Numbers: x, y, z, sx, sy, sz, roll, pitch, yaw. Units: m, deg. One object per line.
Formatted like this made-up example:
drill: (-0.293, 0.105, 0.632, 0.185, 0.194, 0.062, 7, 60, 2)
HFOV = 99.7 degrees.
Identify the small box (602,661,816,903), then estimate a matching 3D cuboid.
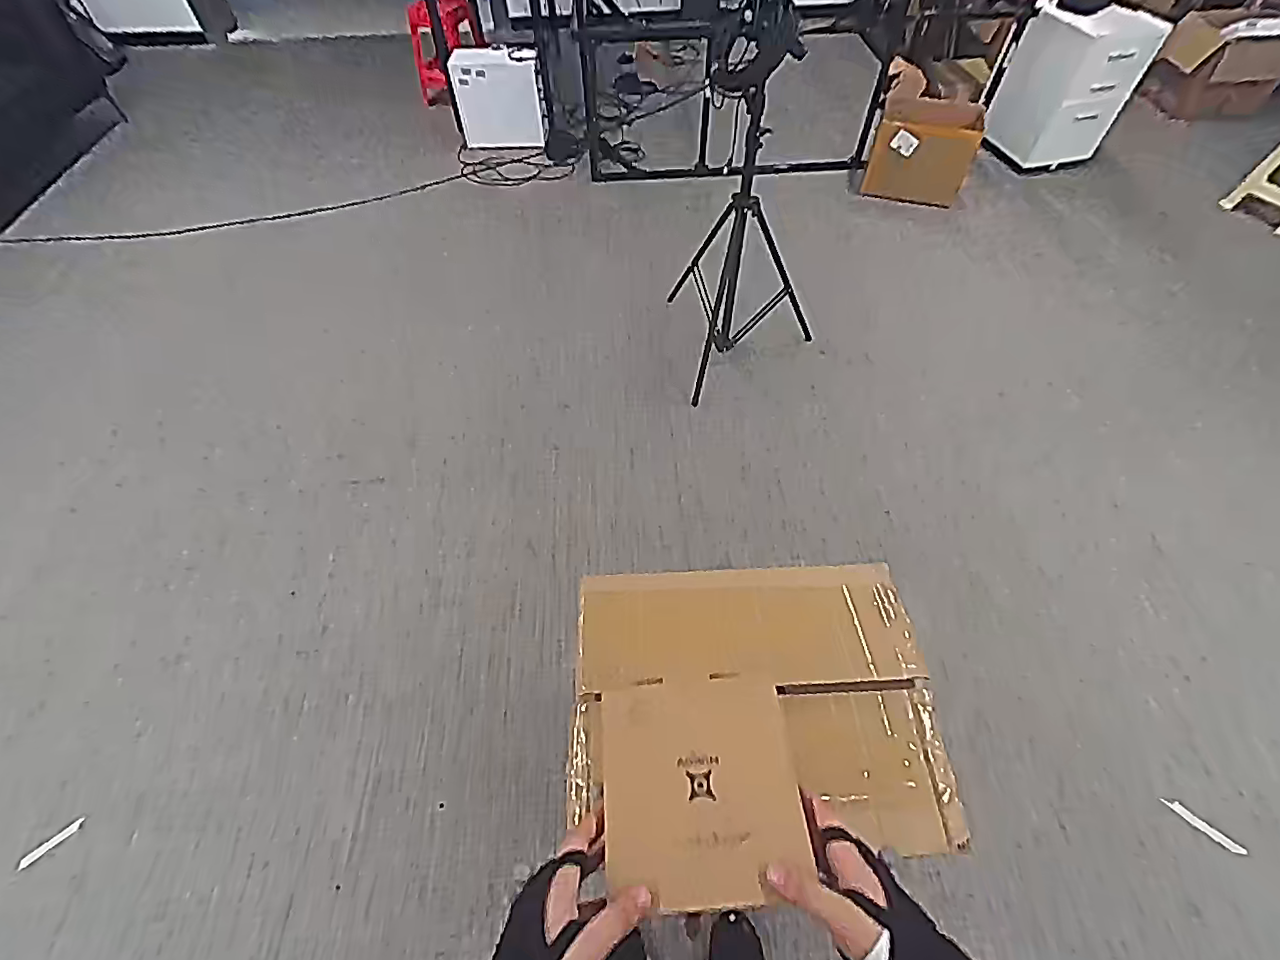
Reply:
small box: (0.051, 0.298, 0.530, 0.168, 0.176, 0.179, -5, 53, -2)
